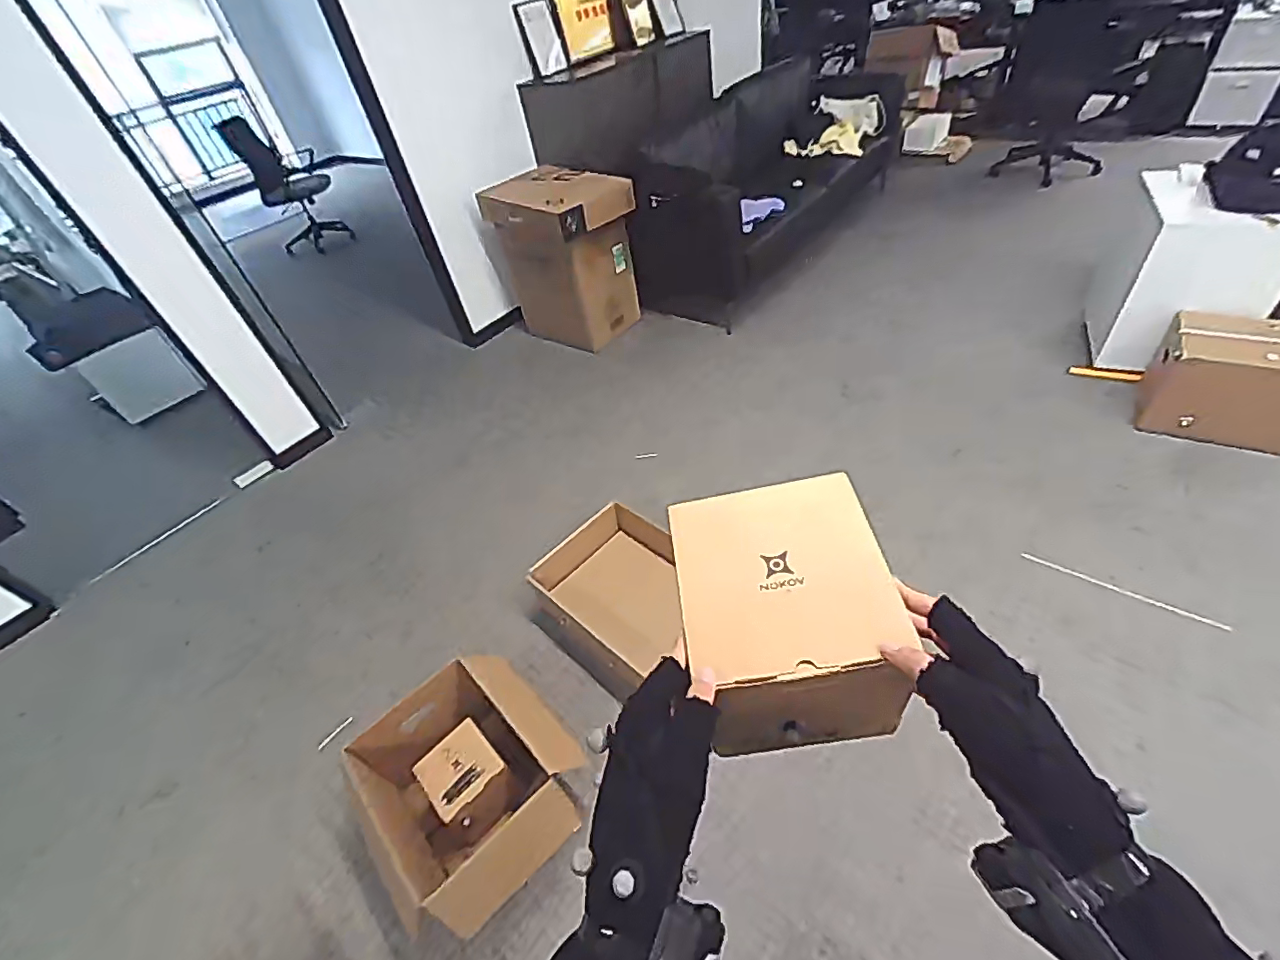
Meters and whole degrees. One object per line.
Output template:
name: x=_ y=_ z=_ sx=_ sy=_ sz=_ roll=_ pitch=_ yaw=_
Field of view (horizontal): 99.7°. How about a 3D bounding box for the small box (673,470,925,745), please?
small box: x=0.131 y=0.121 z=0.499 sx=0.168 sy=0.176 sz=0.179 roll=-12 pitch=48 yaw=7
